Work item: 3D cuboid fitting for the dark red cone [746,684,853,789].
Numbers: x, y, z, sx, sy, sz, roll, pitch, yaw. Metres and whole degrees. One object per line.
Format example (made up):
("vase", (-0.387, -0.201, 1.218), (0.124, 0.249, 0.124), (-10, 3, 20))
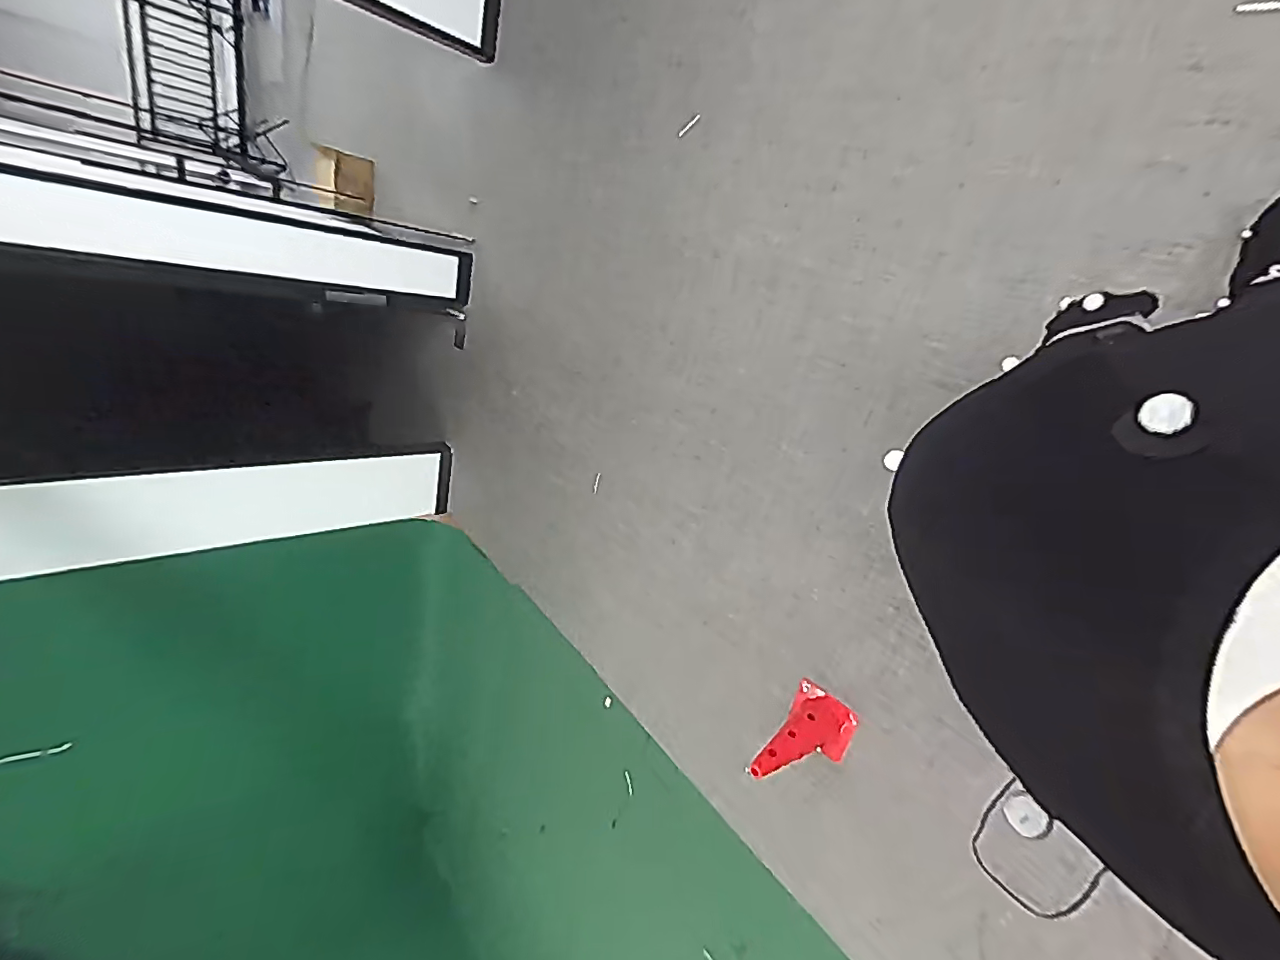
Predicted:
("dark red cone", (0.439, 0.785, 1.583), (0.202, 0.394, 0.201), (28, 117, 41))
